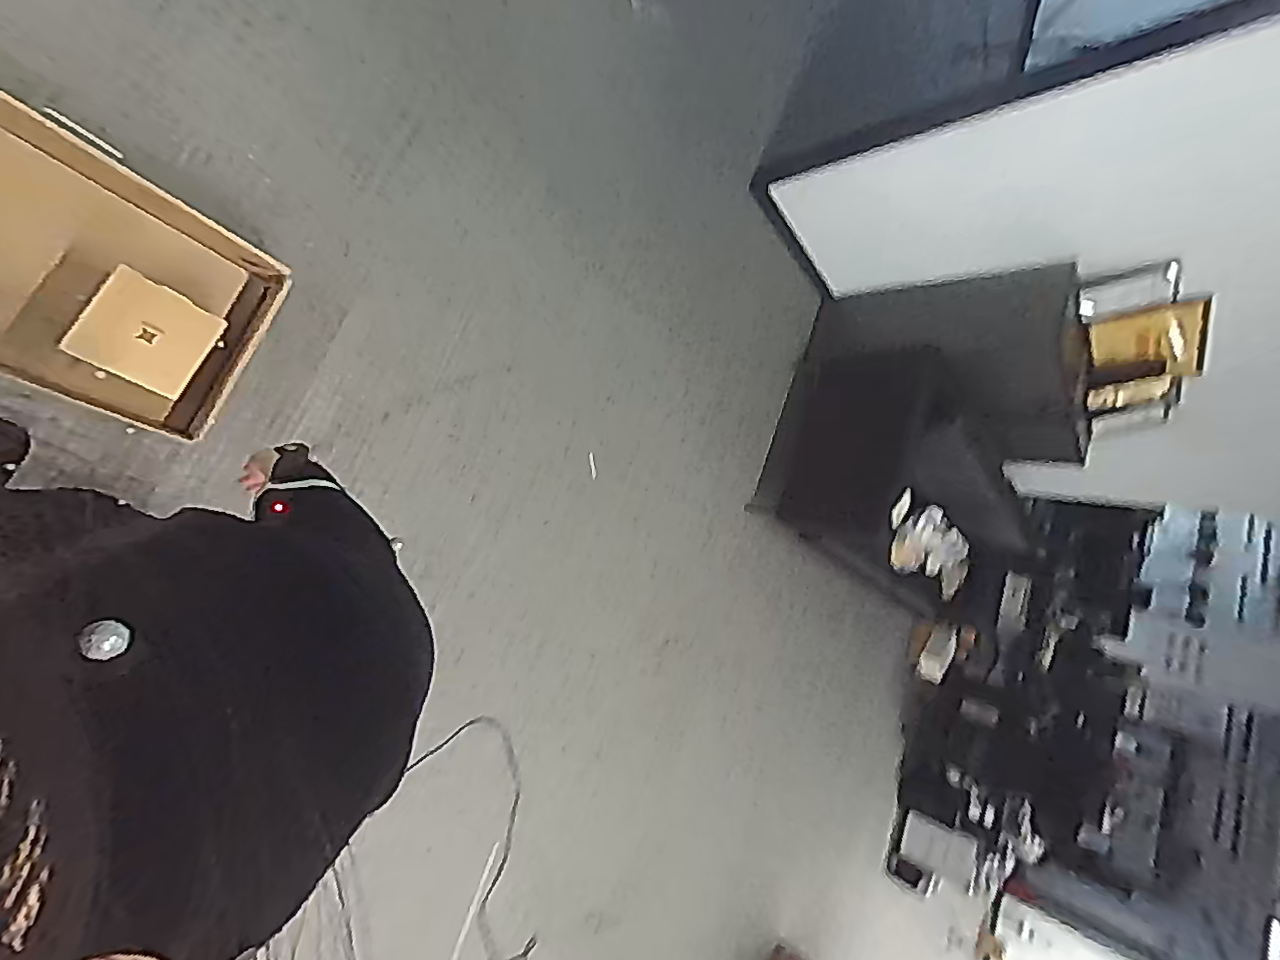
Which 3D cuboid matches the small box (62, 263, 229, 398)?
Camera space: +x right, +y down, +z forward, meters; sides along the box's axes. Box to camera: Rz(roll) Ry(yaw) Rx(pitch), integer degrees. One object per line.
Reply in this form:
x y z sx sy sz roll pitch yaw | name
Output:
-0.914 -0.267 1.010 0.168 0.176 0.179 35 71 -42 | small box
